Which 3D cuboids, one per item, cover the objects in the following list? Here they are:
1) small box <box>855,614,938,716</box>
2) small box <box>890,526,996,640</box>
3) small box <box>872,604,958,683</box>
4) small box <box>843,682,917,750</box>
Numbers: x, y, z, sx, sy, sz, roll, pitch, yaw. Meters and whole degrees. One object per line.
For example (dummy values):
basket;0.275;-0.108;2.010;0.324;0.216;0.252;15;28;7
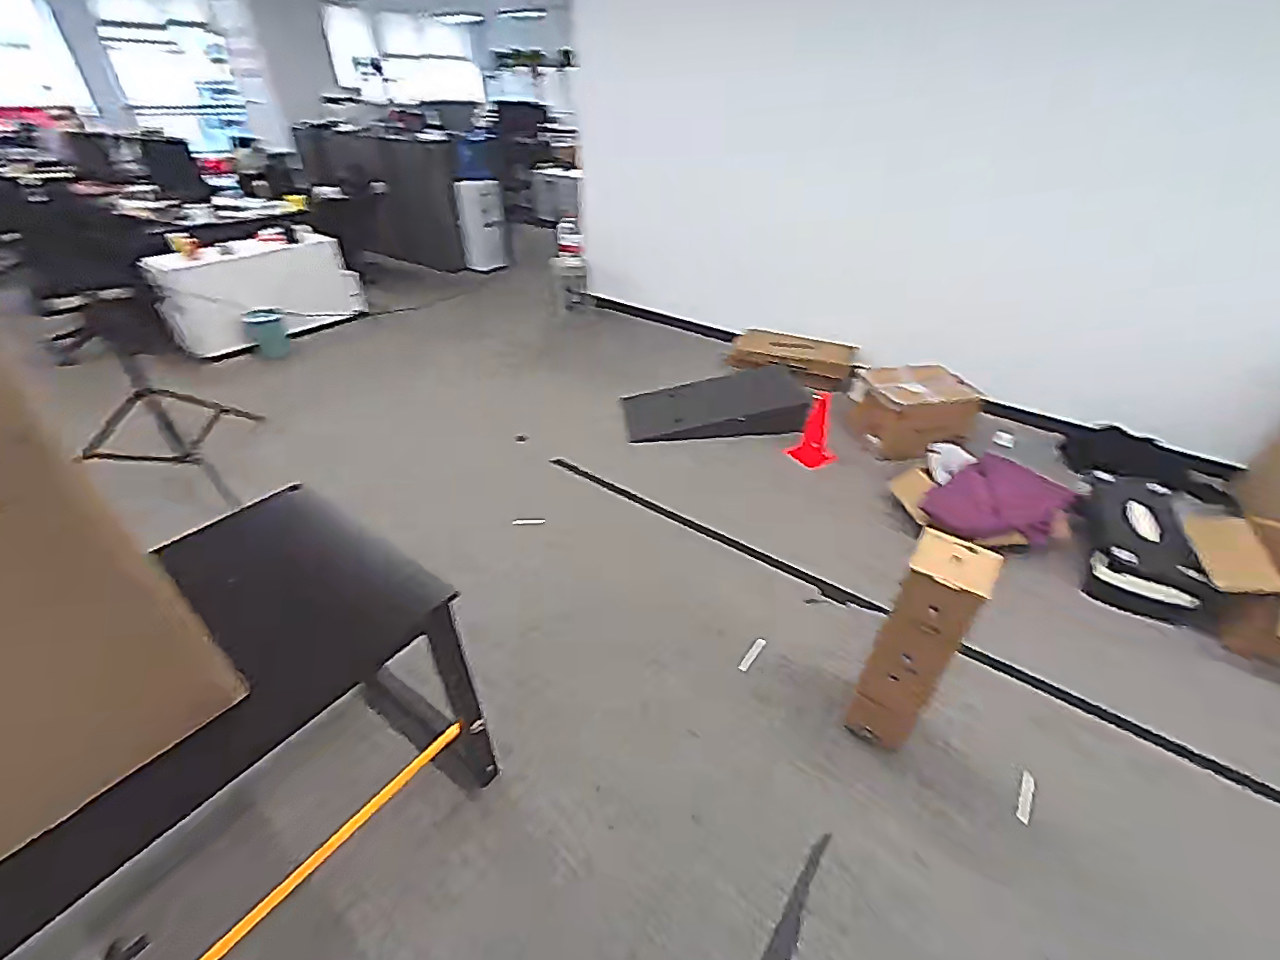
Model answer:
small box;0.716;0.514;1.493;0.179;0.176;0.168;23;42;28
small box;0.720;0.248;1.299;0.168;0.176;0.179;23;42;28
small box;0.723;0.381;1.395;0.168;0.176;0.179;25;43;30
small box;0.714;0.647;1.589;0.168;0.176;0.179;20;41;25
